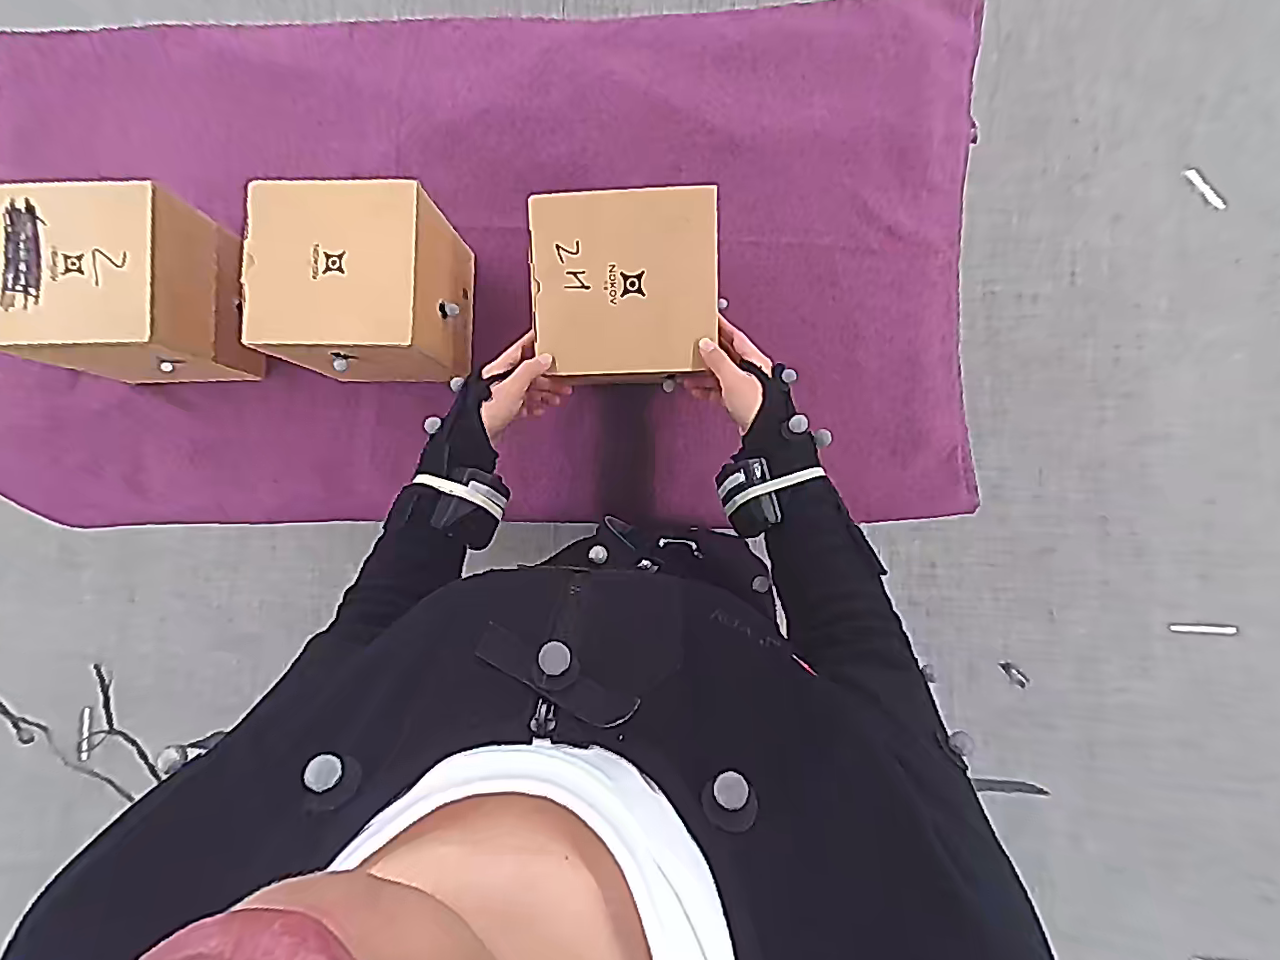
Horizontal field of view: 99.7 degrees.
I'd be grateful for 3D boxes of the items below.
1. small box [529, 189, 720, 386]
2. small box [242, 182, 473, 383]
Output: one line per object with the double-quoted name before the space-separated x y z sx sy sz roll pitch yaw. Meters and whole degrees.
"small box" -0.009 -0.190 0.577 0.179 0.176 0.168 -1 96 5
"small box" -0.299 -0.208 0.608 0.179 0.176 0.168 1 88 4
